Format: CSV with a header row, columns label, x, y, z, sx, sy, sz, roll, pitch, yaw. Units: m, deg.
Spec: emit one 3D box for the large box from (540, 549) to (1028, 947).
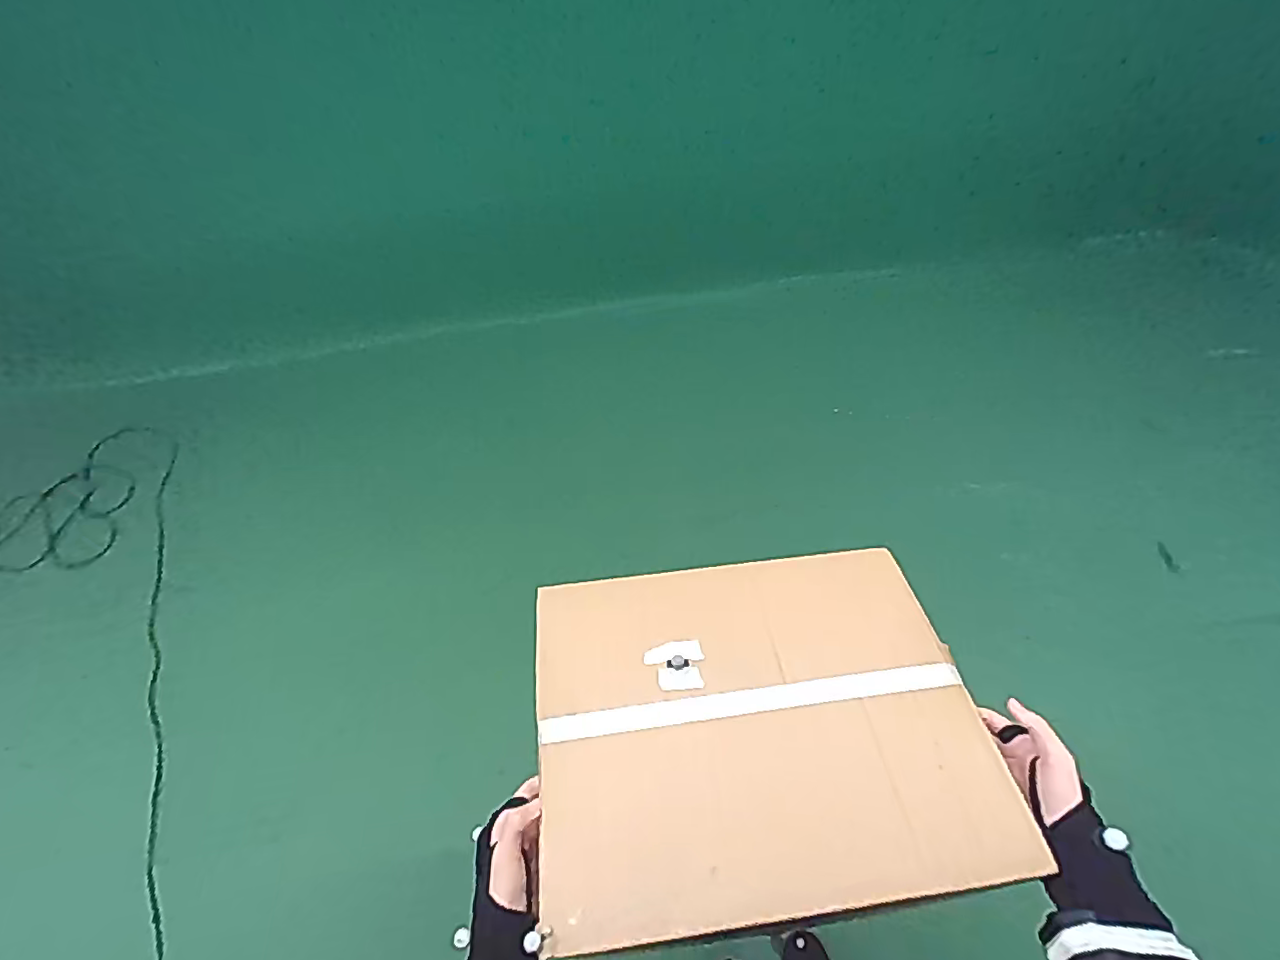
label,x,y,z,sx,sy,sz,roll,pitch,yaw
large box,0.109,0.313,0.634,0.408,0.320,0.320,-6,48,-3
